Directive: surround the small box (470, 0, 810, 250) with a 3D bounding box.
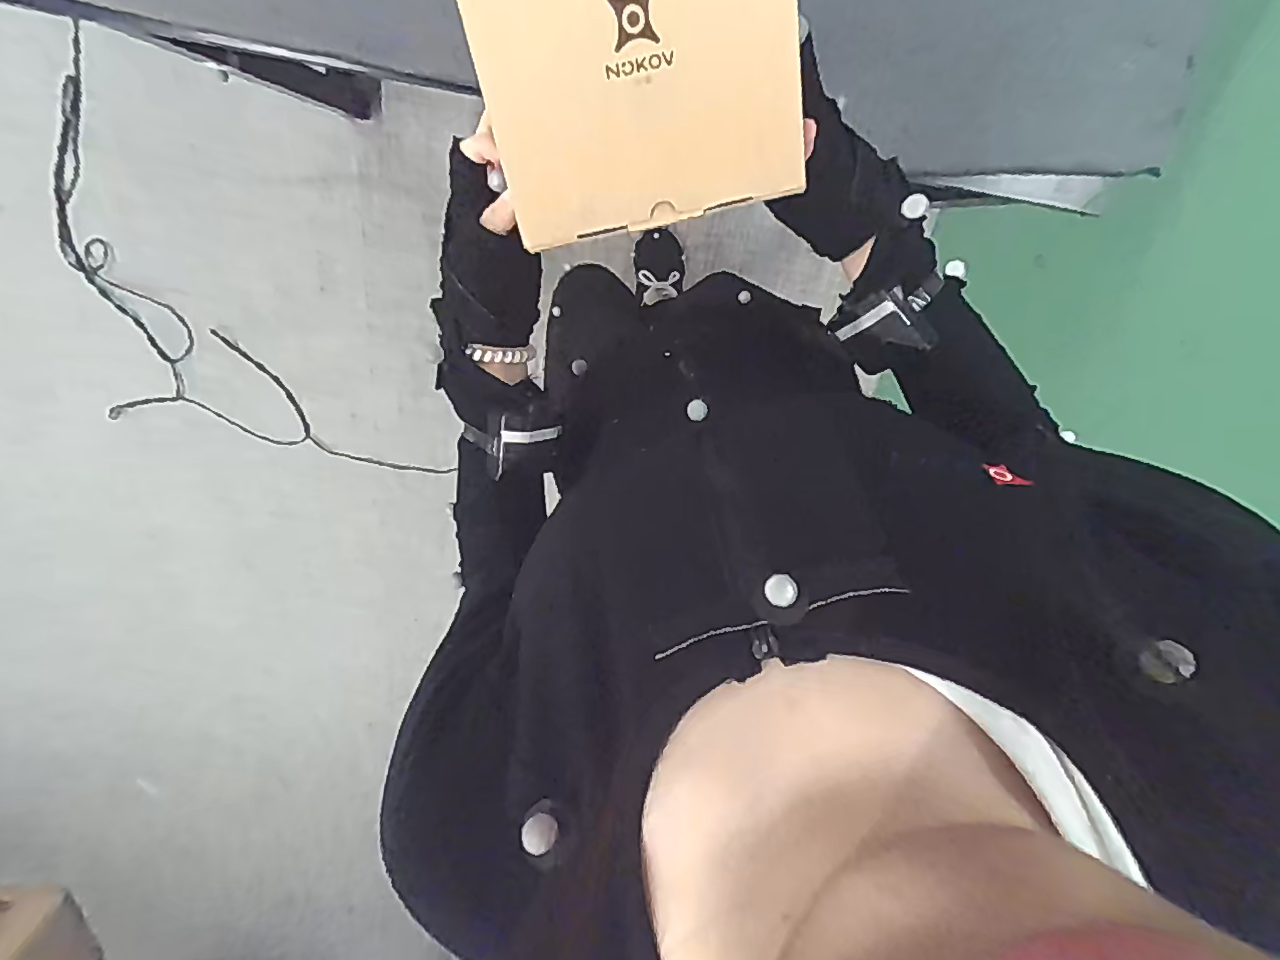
[{"bbox_3d":[-0.005,-0.258,0.342,0.168,0.176,0.179,-12,118,1],"label":"small box"}]
